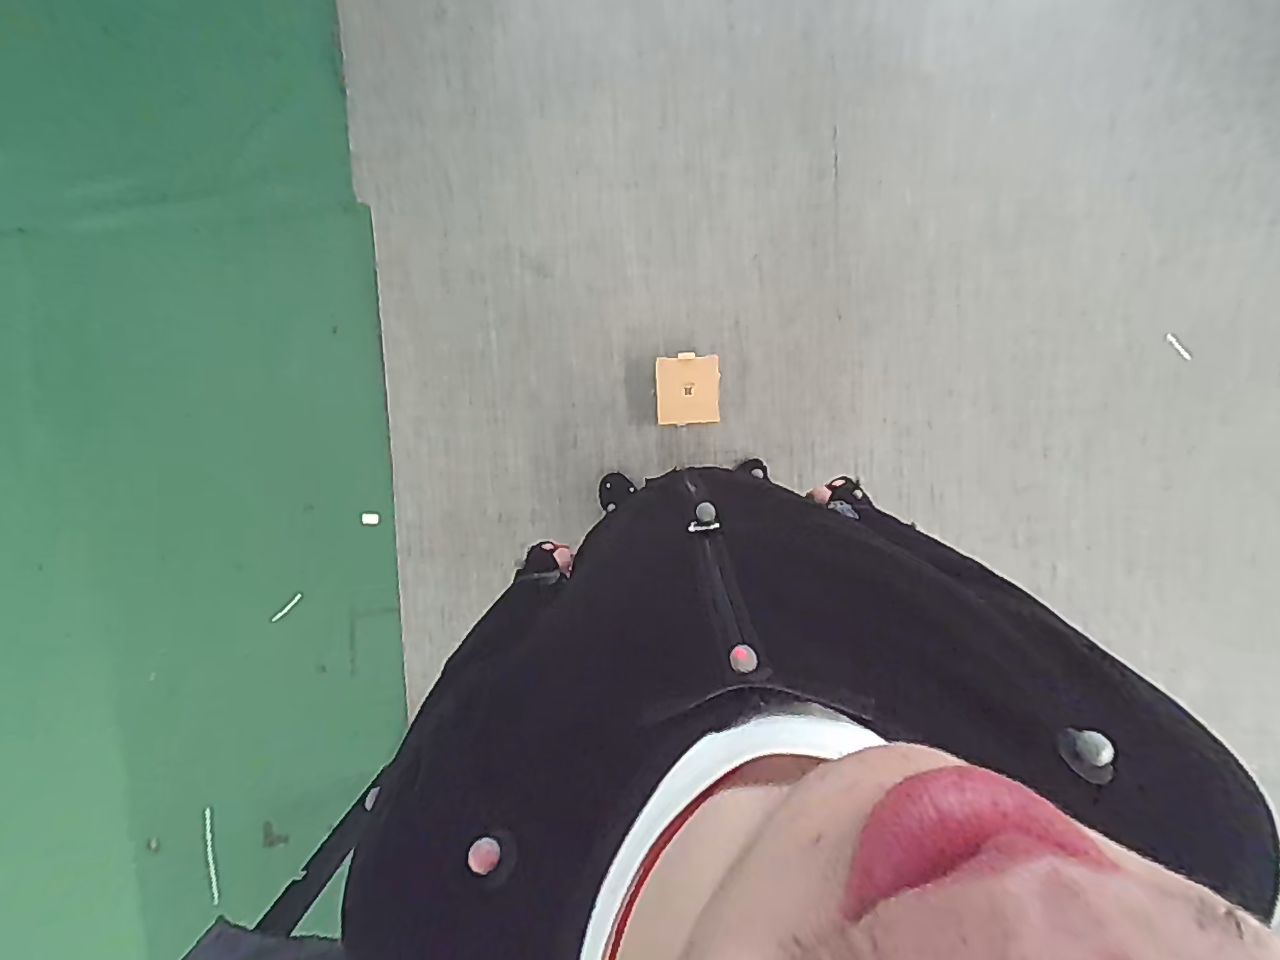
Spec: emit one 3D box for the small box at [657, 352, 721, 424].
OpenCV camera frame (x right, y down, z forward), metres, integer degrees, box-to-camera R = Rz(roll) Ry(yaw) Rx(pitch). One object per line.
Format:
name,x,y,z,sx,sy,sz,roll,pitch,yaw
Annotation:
small box,0.129,-0.245,1.468,0.168,0.176,0.179,-1,94,3
